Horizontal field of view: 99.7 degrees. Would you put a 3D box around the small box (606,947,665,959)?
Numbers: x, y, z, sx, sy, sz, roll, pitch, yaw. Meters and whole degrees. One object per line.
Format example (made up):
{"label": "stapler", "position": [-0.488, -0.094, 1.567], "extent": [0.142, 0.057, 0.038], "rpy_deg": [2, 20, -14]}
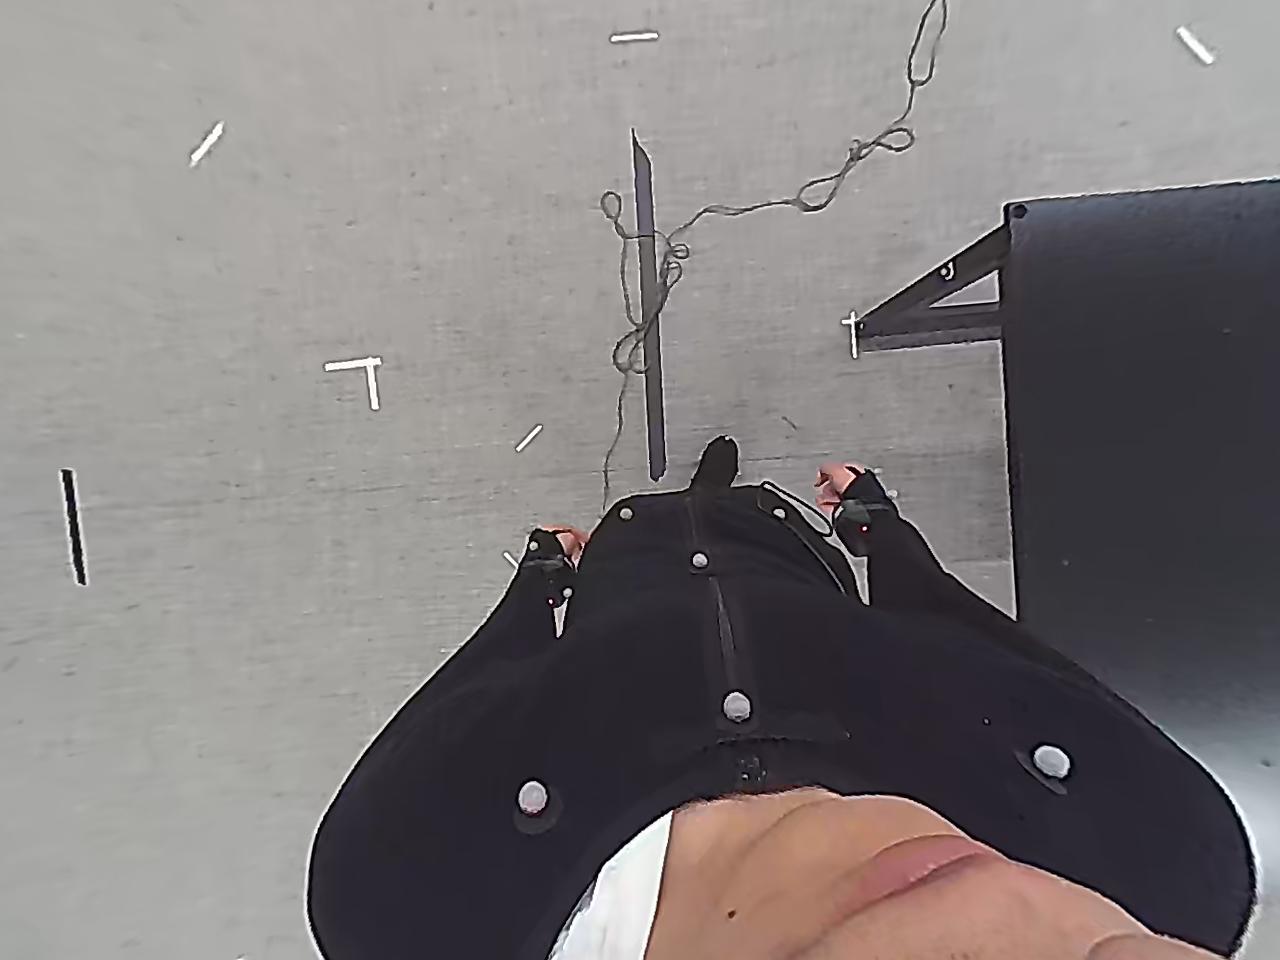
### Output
{"label": "small box", "position": [-0.010, 1.389, 1.425], "extent": [0.168, 0.176, 0.179], "rpy_deg": [-3, 93, 1]}
